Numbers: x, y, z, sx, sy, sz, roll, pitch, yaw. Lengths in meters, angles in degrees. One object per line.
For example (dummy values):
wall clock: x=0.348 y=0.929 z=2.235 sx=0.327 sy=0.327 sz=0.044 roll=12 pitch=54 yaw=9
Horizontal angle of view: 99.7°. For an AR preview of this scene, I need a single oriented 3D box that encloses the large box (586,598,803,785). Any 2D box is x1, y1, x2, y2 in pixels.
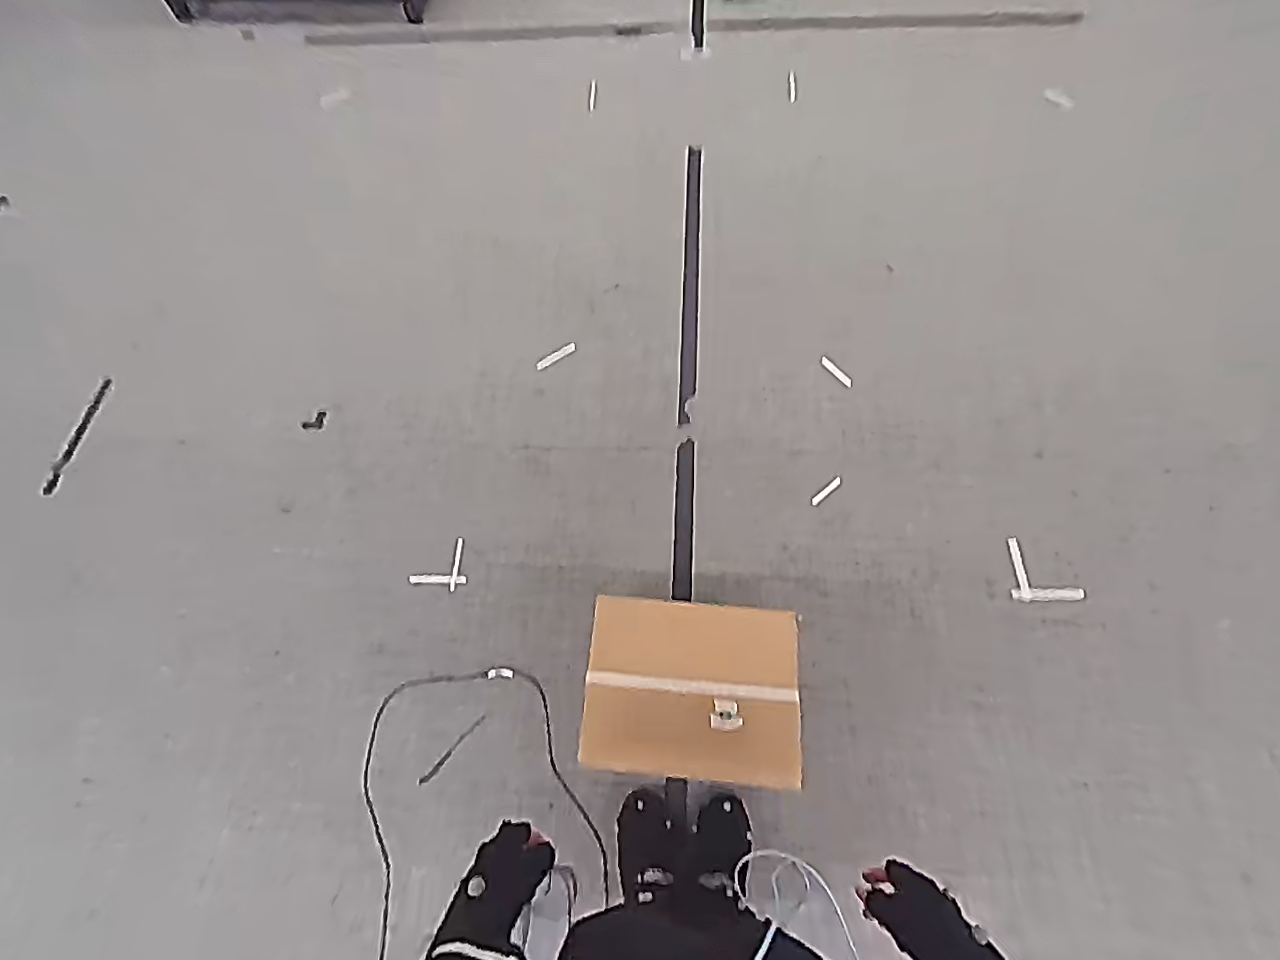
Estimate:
large box: x=0.111 y=0.456 z=1.174 sx=0.408 sy=0.320 sz=0.320 roll=4 pitch=67 yaw=4
